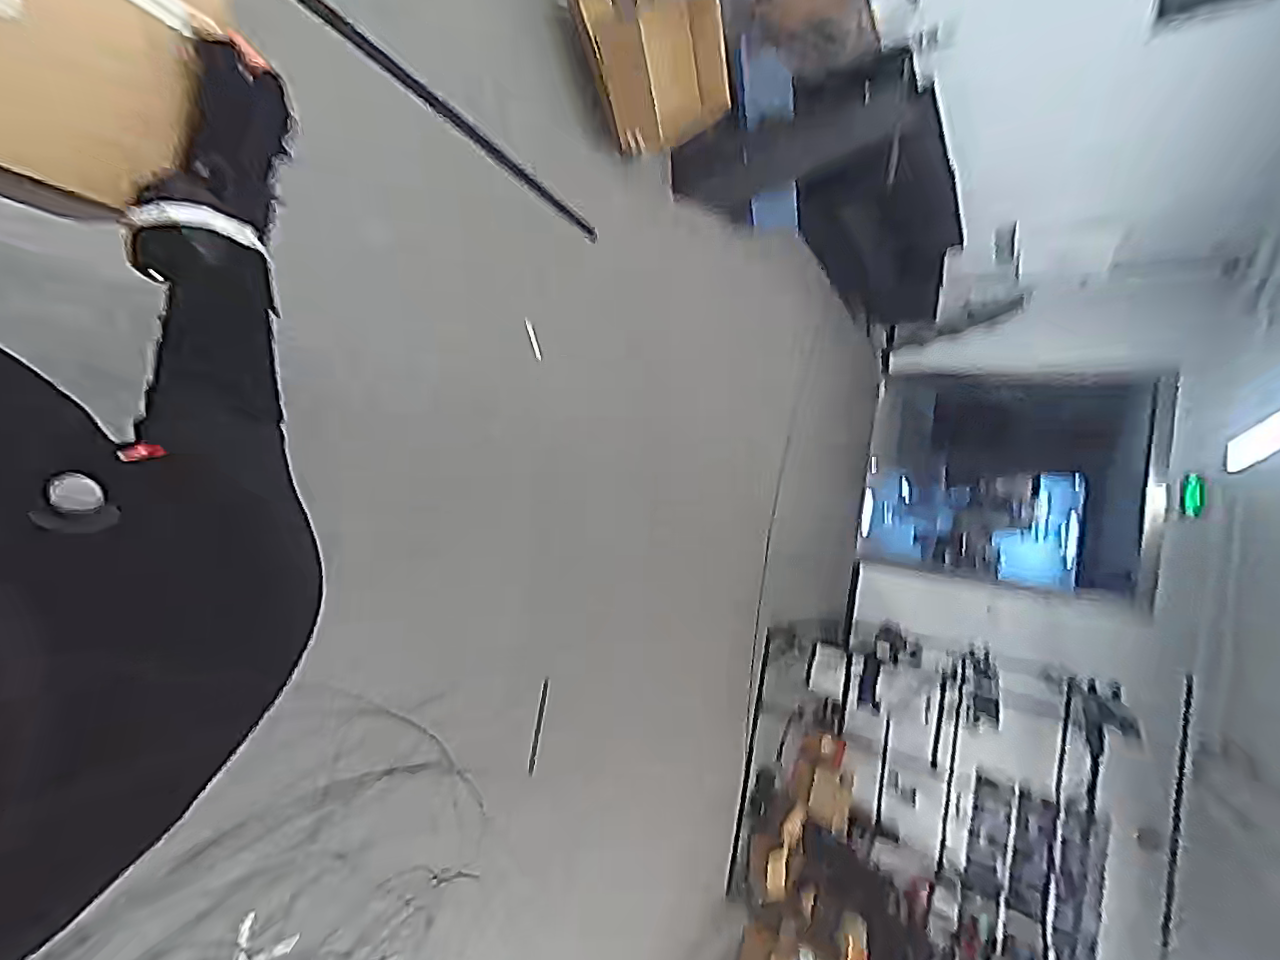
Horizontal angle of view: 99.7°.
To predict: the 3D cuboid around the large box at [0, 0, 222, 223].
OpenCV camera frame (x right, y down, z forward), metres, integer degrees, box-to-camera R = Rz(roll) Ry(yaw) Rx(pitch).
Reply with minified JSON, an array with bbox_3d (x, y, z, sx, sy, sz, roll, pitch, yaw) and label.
[{"bbox_3d":[-0.582,-0.419,0.359,0.408,0.320,0.320,9,100,-59],"label":"large box"}]
